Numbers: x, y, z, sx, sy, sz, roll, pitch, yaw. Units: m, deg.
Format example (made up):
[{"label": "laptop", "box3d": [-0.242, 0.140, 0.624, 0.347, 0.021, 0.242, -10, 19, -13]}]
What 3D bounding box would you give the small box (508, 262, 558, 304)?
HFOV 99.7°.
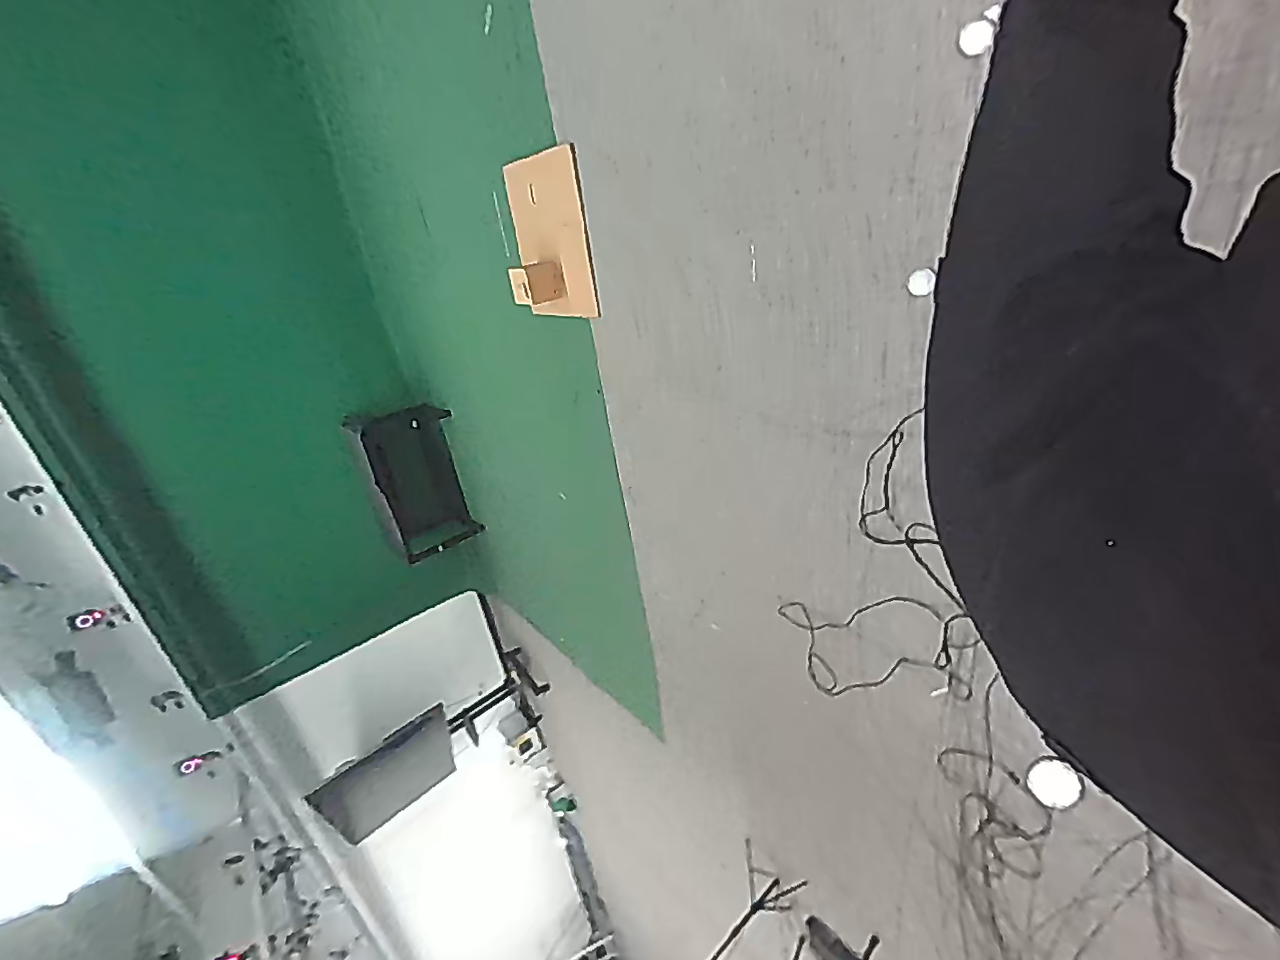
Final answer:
[{"label": "small box", "box3d": [-0.508, -0.955, 2.613, 0.179, 0.176, 0.168, 24, 130, 46]}]
